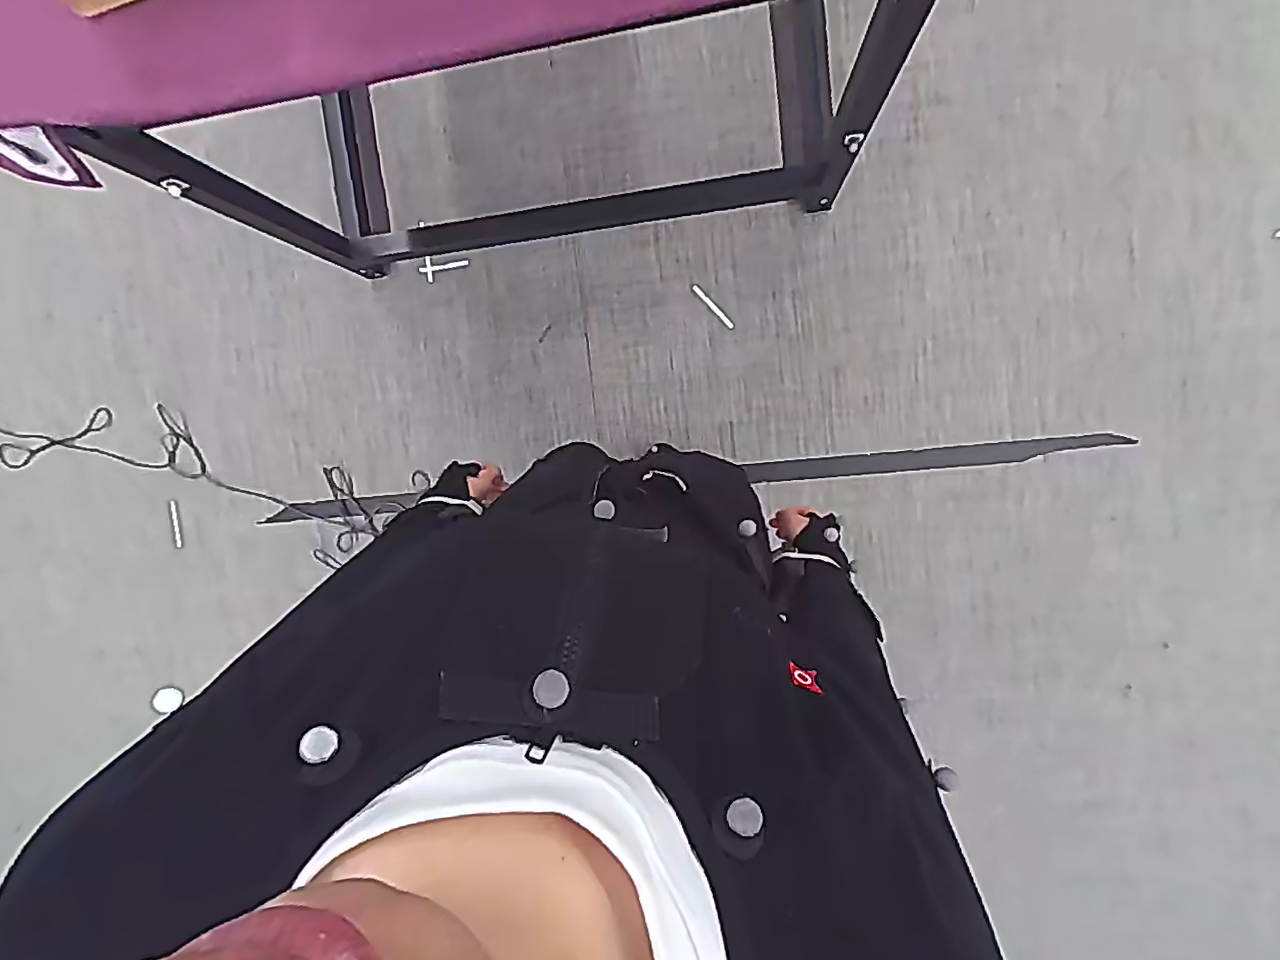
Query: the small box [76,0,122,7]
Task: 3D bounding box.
[{"bbox_3d":[-0.642,-0.669,0.584,0.168,0.176,0.179,-12,92,8],"label":"small box"}]
